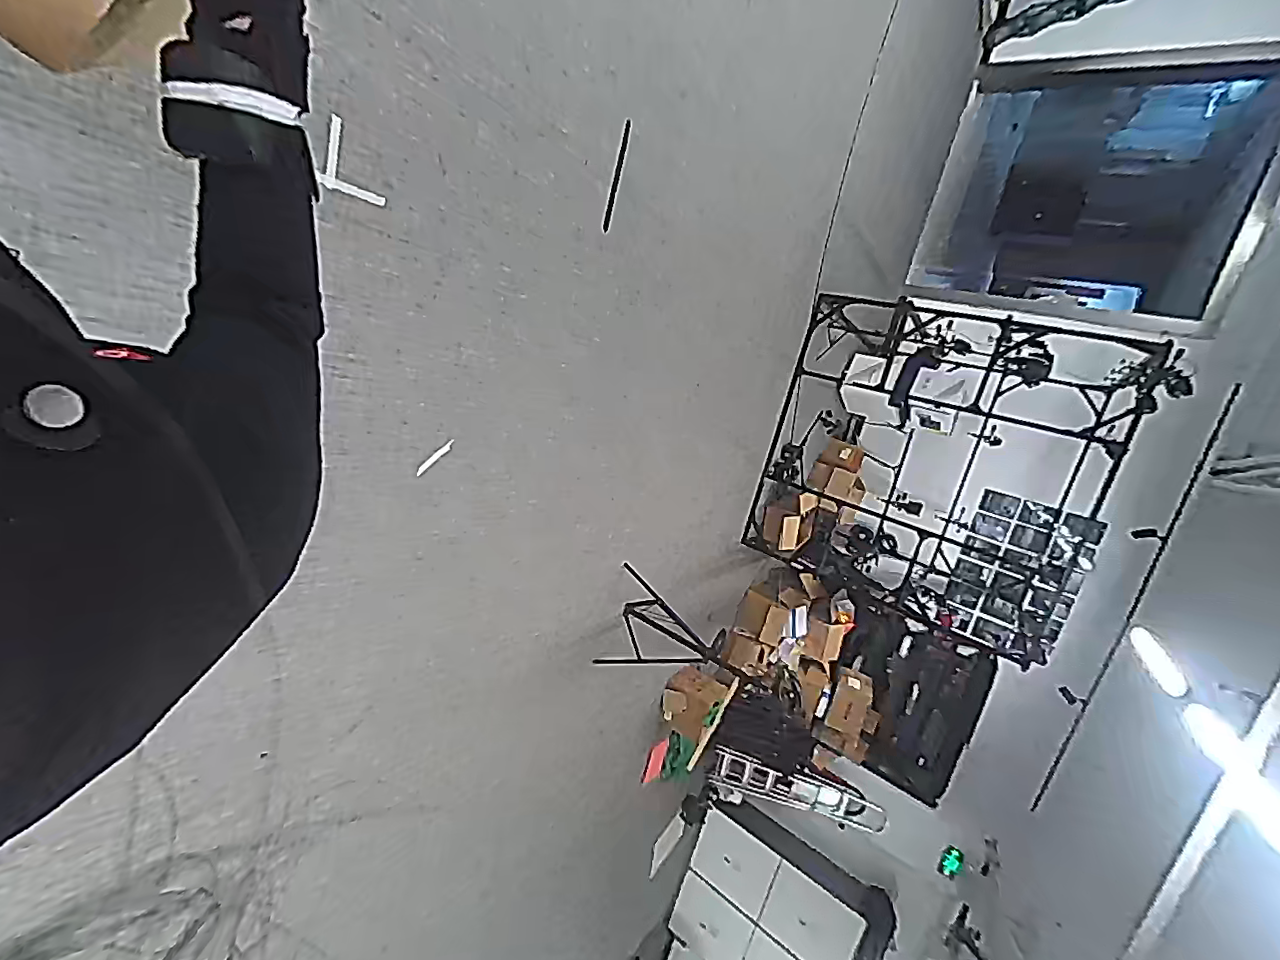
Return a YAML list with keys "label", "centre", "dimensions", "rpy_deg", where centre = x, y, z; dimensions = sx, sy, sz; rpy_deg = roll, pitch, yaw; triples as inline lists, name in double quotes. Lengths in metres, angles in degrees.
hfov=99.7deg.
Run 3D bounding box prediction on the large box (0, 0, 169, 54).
- label: "large box"
  centre: [-0.443, -0.545, 0.285]
  dimensions: [0.320, 0.320, 0.408]
  rpy_deg: [-45, 138, 8]
